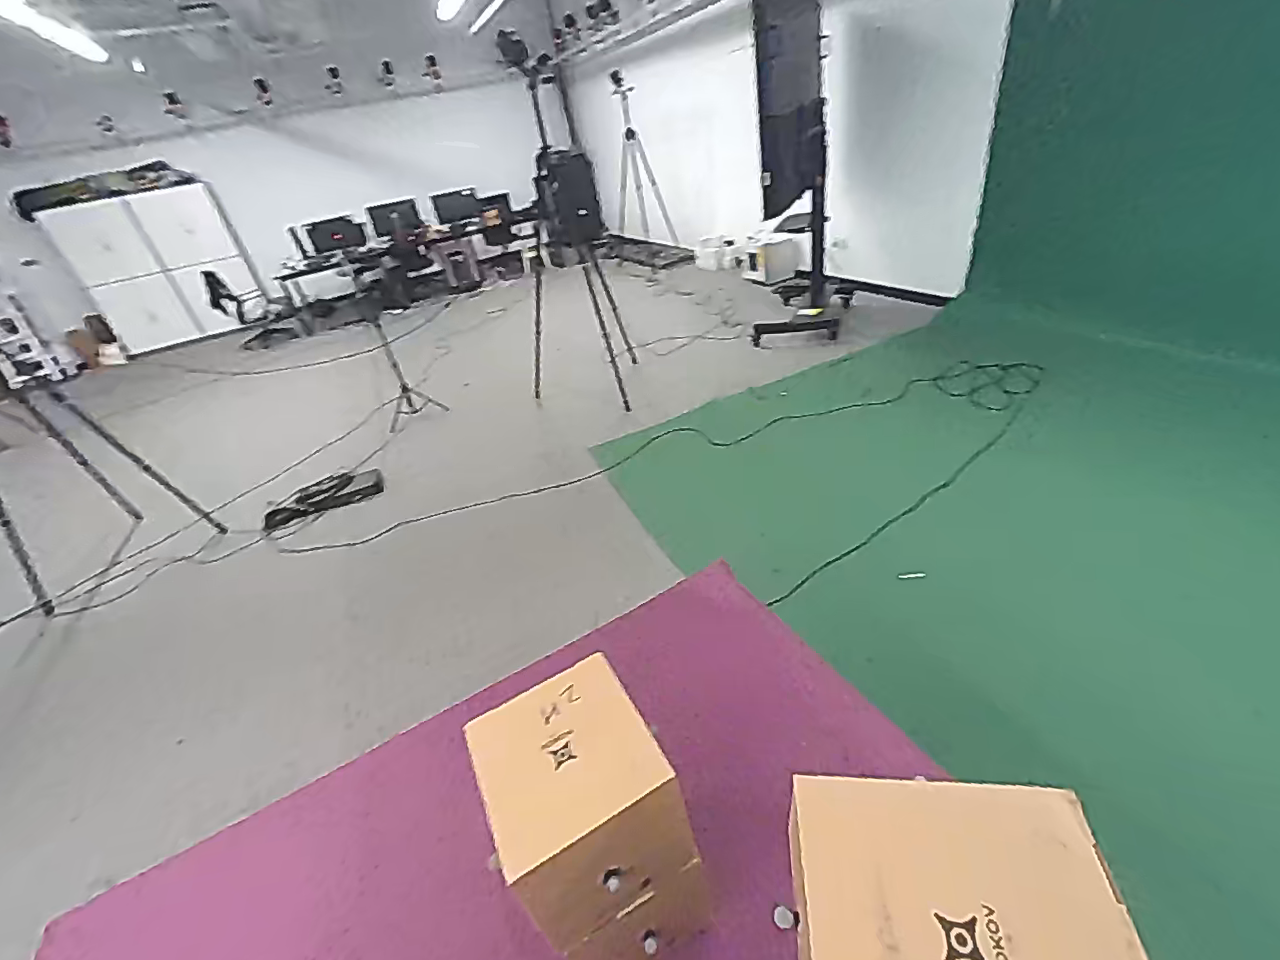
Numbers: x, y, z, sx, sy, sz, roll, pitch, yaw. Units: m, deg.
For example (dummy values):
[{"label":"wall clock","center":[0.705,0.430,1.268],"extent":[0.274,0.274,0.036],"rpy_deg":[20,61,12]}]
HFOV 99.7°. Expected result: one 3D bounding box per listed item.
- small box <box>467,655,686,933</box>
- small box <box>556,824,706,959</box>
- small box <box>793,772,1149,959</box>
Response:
[{"label":"small box","center":[-0.065,0.333,0.577],"extent":[0.168,0.176,0.179],"rpy_deg":[-22,33,-17]},{"label":"small box","center":[-0.032,0.466,0.673],"extent":[0.168,0.176,0.179],"rpy_deg":[-23,36,-18]},{"label":"small box","center":[0.202,0.316,0.363],"extent":[0.179,0.176,0.168],"rpy_deg":[-2,44,11]}]
